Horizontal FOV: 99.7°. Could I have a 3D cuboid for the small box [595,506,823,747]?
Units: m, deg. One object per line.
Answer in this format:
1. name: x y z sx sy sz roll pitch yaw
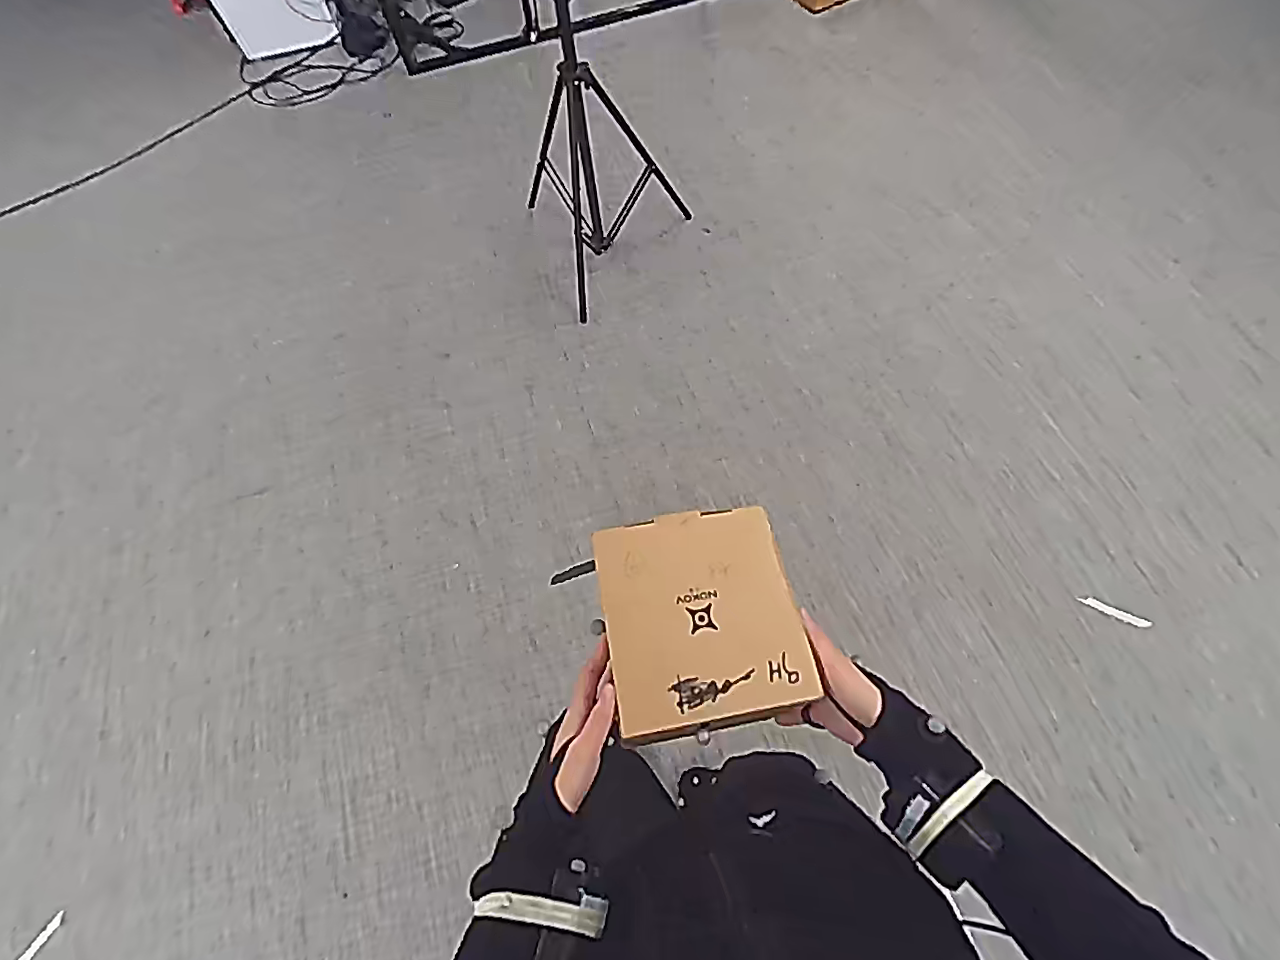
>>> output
1. small box: 0.049 0.148 0.528 0.168 0.176 0.179 -9 62 -6
